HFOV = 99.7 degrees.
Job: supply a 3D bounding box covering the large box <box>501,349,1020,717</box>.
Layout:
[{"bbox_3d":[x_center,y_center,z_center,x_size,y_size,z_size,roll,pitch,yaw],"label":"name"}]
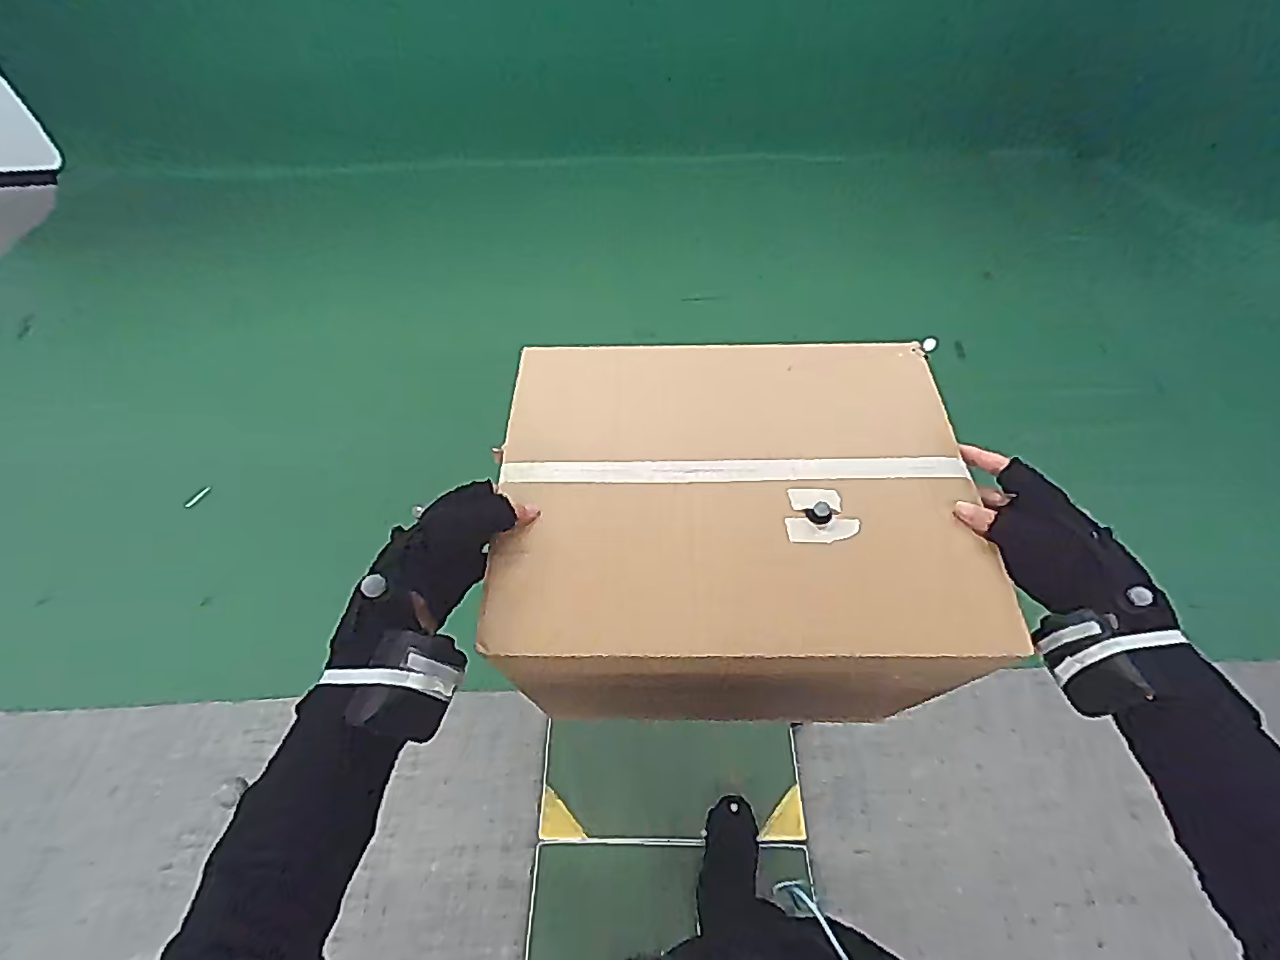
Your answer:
[{"bbox_3d":[0.090,0.074,0.611,0.408,0.320,0.320,0,58,1],"label":"large box"}]
